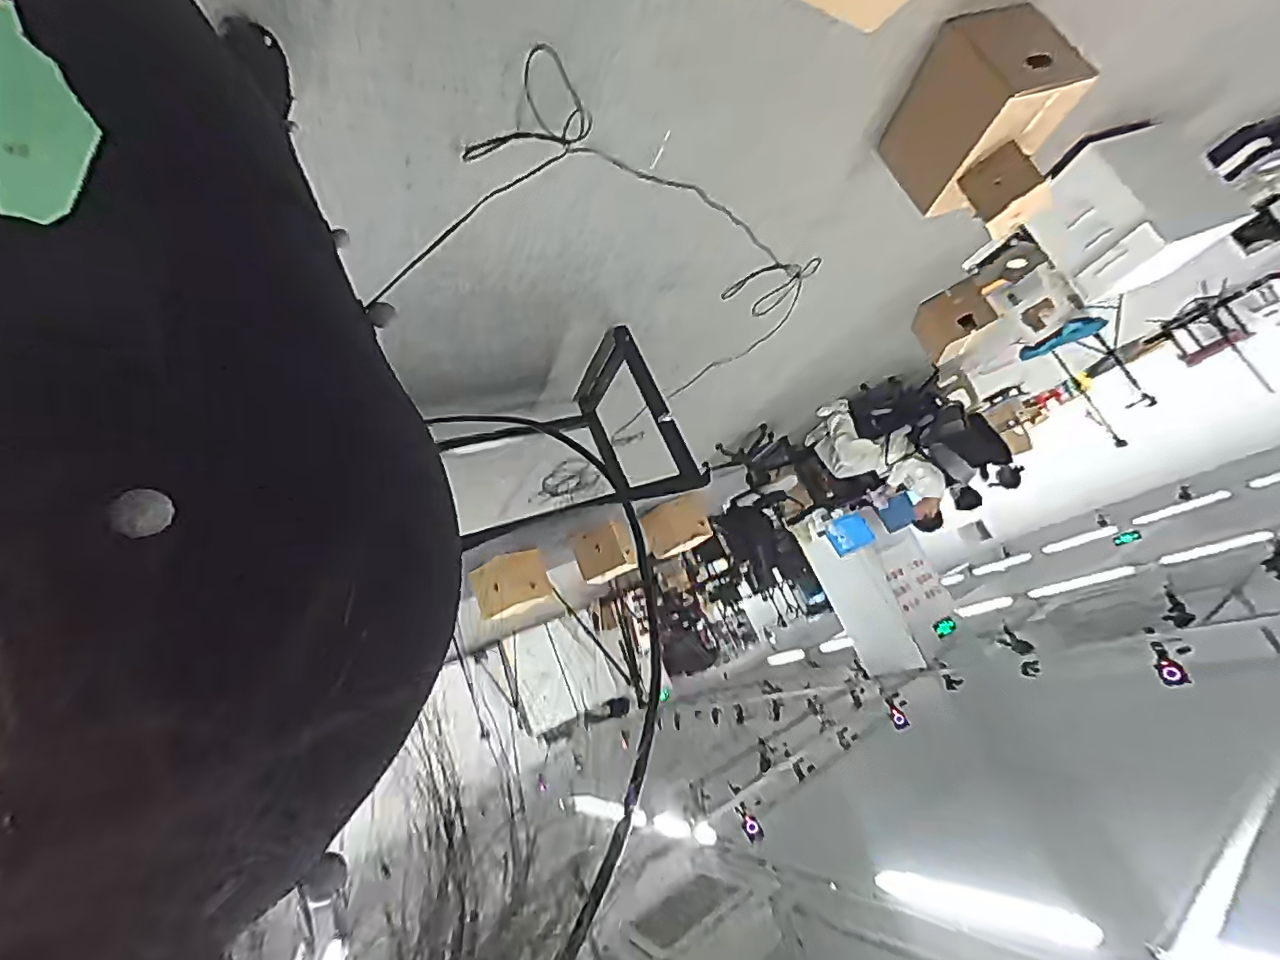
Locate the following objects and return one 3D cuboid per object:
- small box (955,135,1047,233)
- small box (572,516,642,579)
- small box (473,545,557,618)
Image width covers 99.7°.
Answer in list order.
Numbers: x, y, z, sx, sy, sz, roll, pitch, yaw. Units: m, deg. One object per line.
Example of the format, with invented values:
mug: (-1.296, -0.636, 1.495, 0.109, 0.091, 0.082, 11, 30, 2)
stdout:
small box: (1.080, -0.889, 1.621, 0.168, 0.176, 0.179, -35, 160, 35)
small box: (-0.117, 0.238, 1.914, 0.168, 0.176, 0.179, -26, 165, 9)
small box: (-0.409, 0.324, 1.752, 0.168, 0.176, 0.179, -32, 164, 28)
